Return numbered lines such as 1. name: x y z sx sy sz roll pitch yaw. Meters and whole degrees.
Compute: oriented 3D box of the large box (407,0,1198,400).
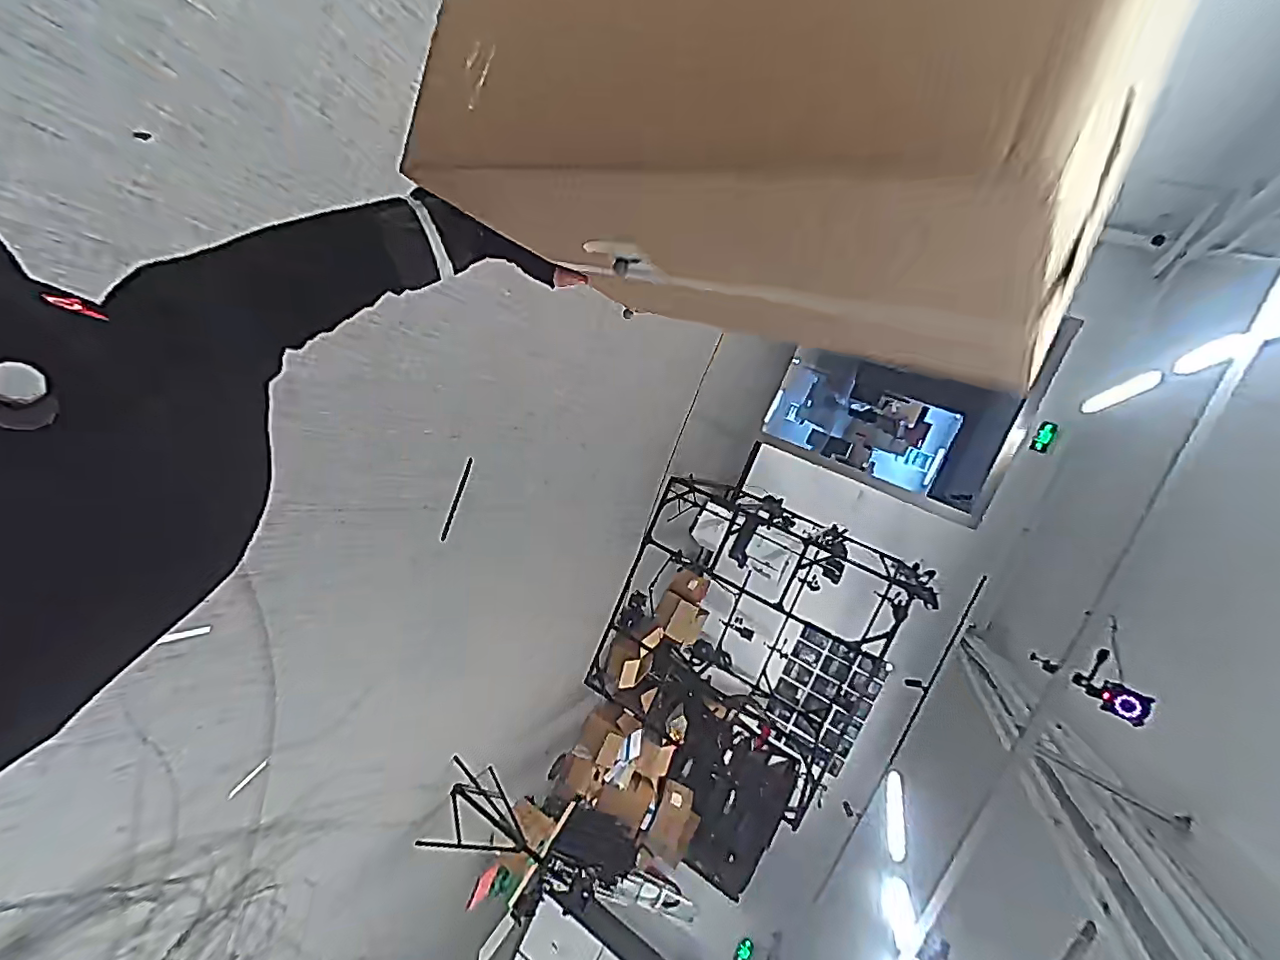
1. large box: 0.107 -0.290 0.395 0.320 0.408 0.320 12 103 -55
